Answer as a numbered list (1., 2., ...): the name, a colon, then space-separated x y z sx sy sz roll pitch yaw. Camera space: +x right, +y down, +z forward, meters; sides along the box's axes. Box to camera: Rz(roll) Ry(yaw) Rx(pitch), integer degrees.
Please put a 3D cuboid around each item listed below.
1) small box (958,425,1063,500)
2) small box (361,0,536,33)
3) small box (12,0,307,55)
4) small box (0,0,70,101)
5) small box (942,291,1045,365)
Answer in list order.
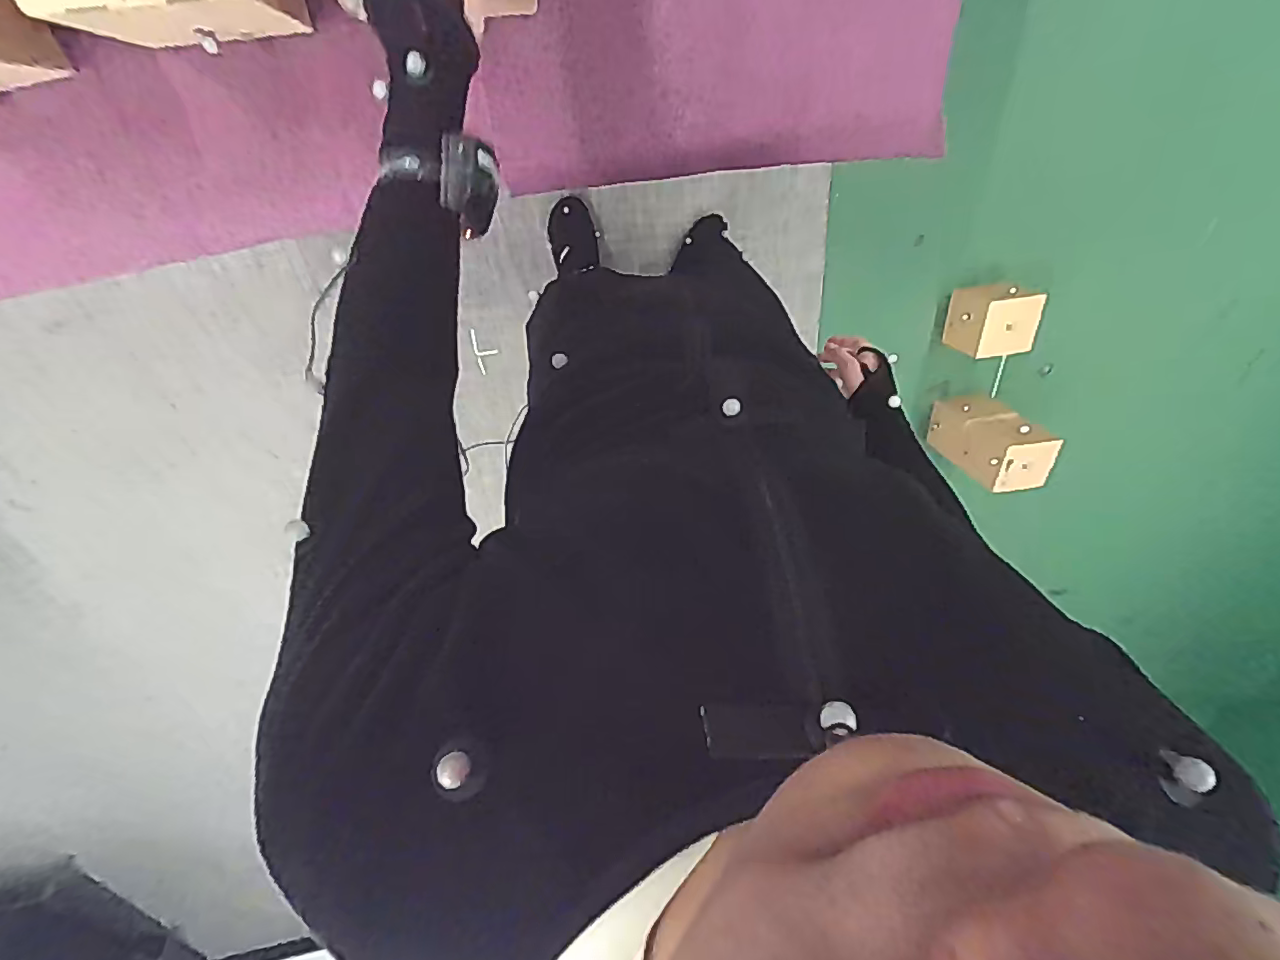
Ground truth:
1. small box: 1.131 -0.059 1.666 0.179 0.176 0.168 -7 122 -7
2. small box: -0.186 -0.518 0.470 0.168 0.176 0.179 -8 123 -5
3. small box: -0.418 -0.481 0.449 0.168 0.176 0.179 -10 123 -5
4. small box: -0.660 -0.420 0.441 0.168 0.176 0.179 -14 123 -1
5. small box: 1.037 -0.454 1.603 0.179 0.176 0.168 -10 122 -6
